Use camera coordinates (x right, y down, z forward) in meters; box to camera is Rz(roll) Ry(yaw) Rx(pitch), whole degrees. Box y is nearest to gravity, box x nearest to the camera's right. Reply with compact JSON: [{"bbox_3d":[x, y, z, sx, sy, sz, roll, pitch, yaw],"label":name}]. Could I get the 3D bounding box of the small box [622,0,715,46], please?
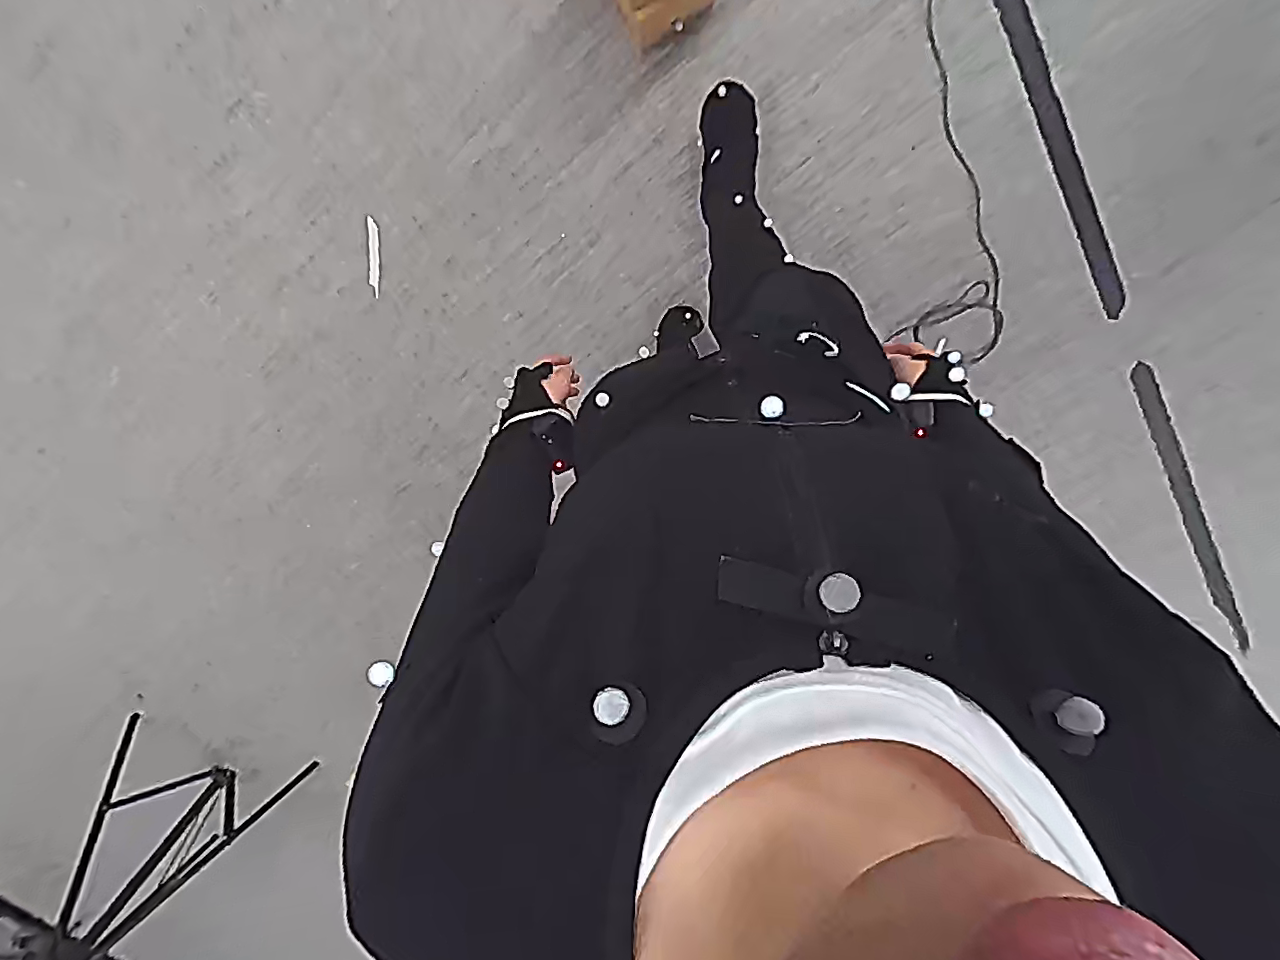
[{"bbox_3d":[0.035,-0.909,0.932,0.168,0.176,0.179,-26,111,12],"label":"small box"}]
